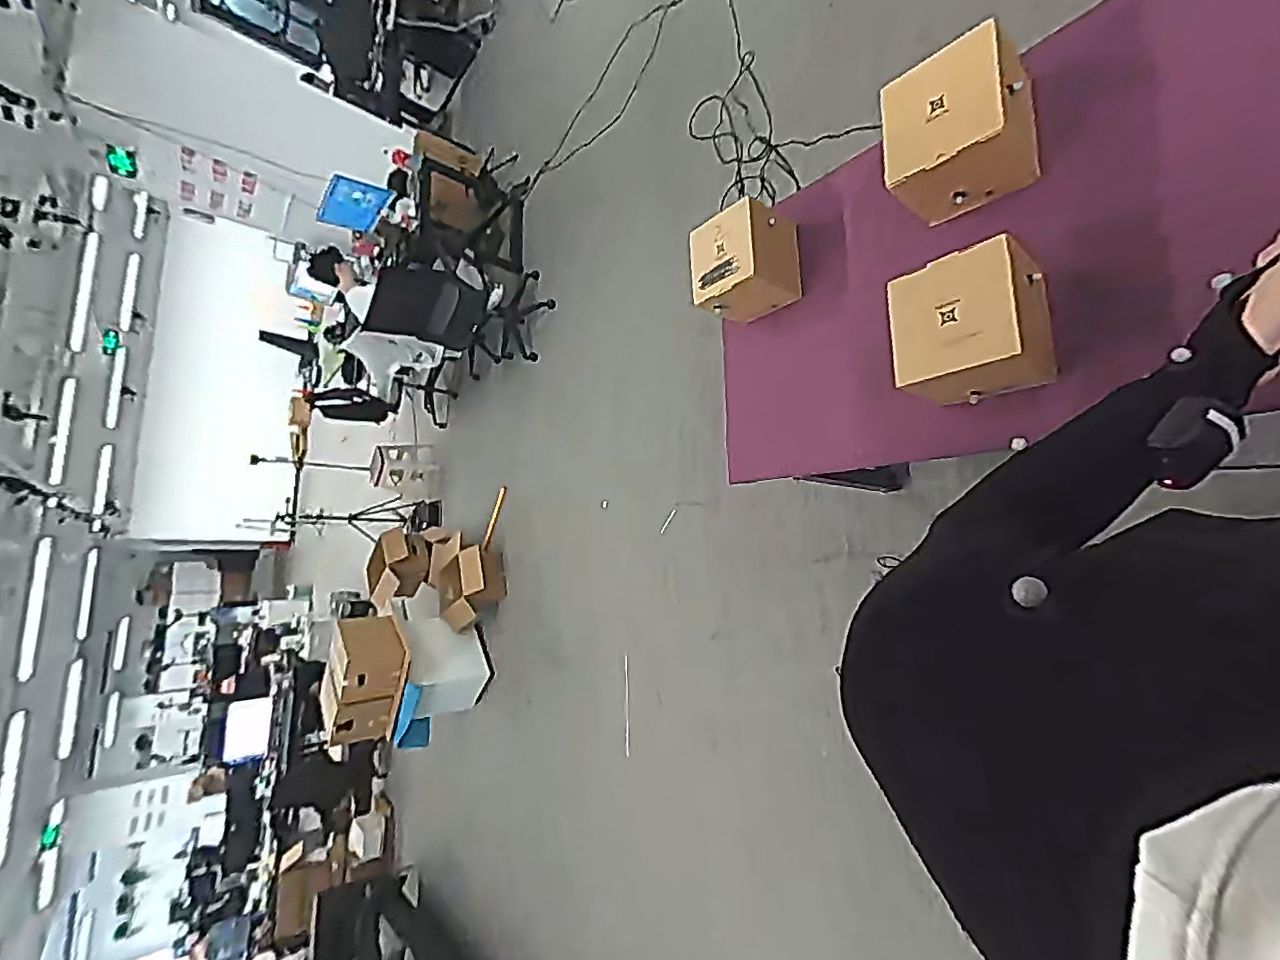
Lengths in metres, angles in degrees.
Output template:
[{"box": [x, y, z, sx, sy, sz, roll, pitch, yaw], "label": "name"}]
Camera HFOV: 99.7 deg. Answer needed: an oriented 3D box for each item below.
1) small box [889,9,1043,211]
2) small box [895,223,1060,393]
[{"box": [0.523, -0.575, 0.870, 0.168, 0.176, 0.179, -8, 81, 50], "label": "small box"}, {"box": [0.518, -0.250, 0.835, 0.168, 0.176, 0.179, -11, 76, 51], "label": "small box"}]
